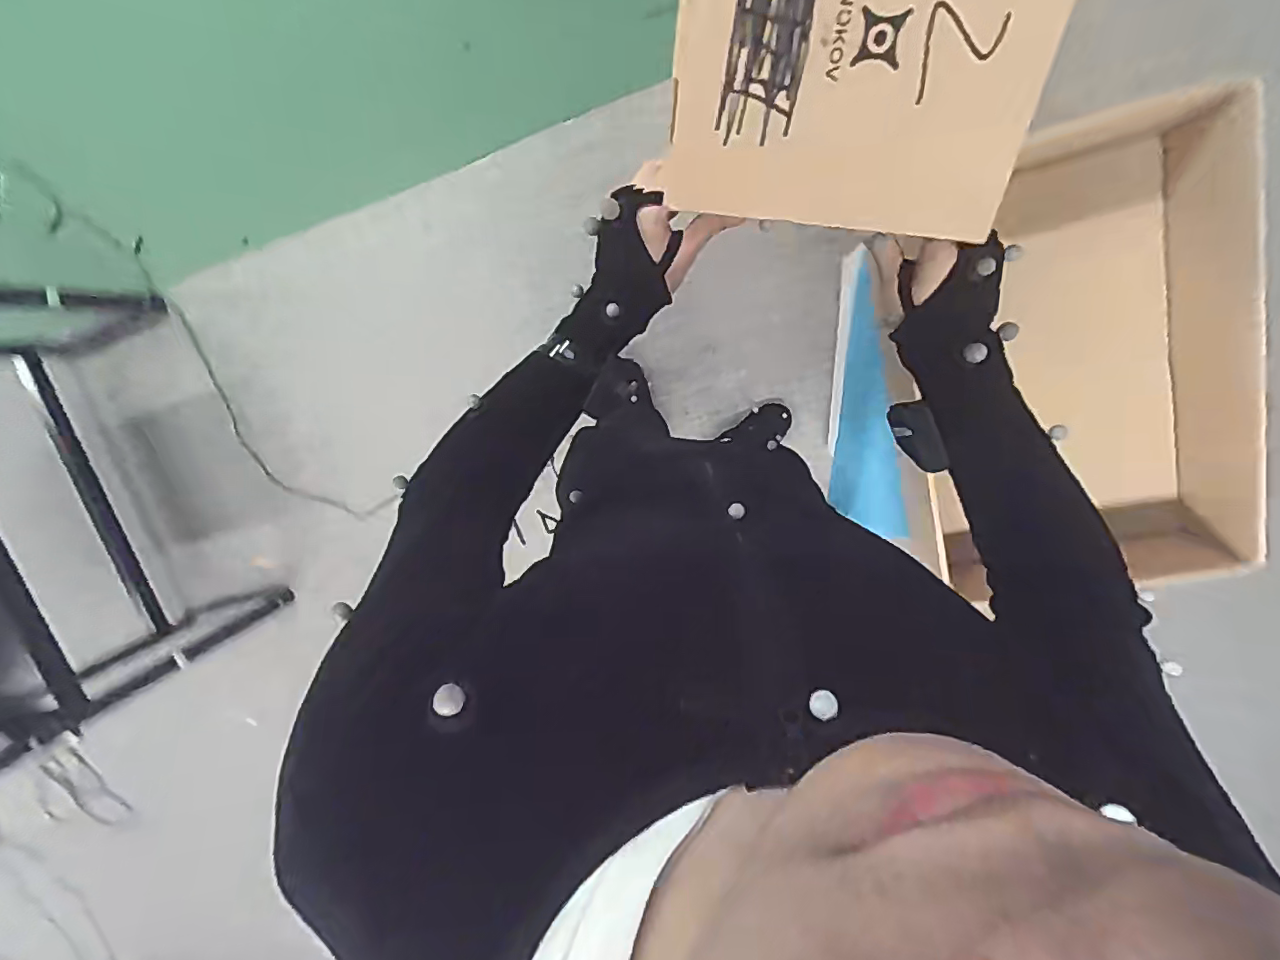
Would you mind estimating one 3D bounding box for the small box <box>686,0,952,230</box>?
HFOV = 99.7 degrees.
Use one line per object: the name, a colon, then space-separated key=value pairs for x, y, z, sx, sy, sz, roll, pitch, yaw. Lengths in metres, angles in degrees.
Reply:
small box: x=0.138 y=-0.324 z=0.469 sx=0.168 sy=0.176 sz=0.179 roll=10 pitch=118 yaw=6
